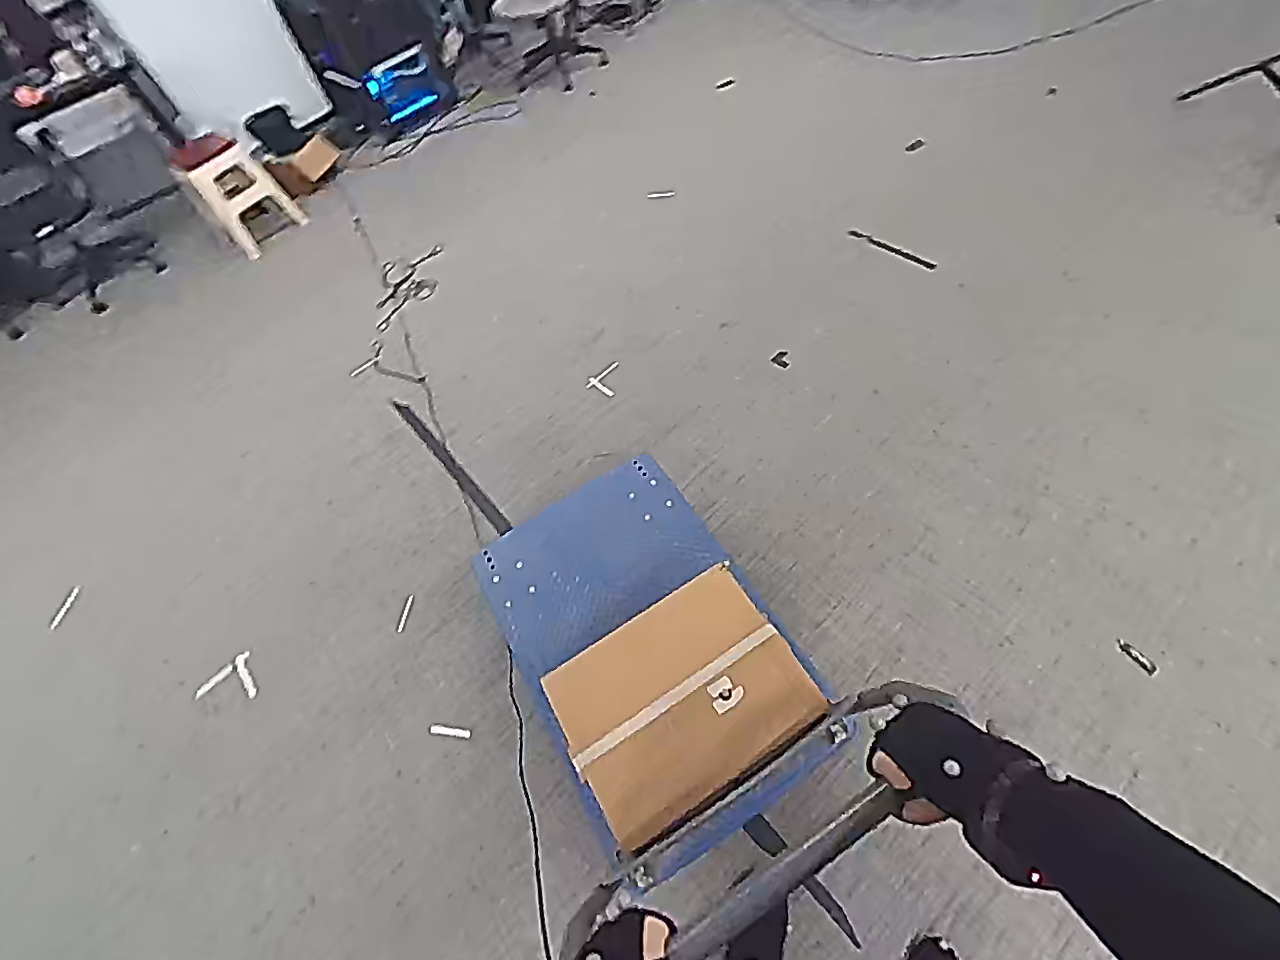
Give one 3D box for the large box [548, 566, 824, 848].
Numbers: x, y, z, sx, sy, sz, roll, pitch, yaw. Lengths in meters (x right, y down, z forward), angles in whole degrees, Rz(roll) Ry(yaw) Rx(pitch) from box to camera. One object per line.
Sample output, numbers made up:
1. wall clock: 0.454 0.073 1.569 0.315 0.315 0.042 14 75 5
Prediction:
1. large box: 0.091 0.449 1.080 0.408 0.320 0.320 -31 61 -10
